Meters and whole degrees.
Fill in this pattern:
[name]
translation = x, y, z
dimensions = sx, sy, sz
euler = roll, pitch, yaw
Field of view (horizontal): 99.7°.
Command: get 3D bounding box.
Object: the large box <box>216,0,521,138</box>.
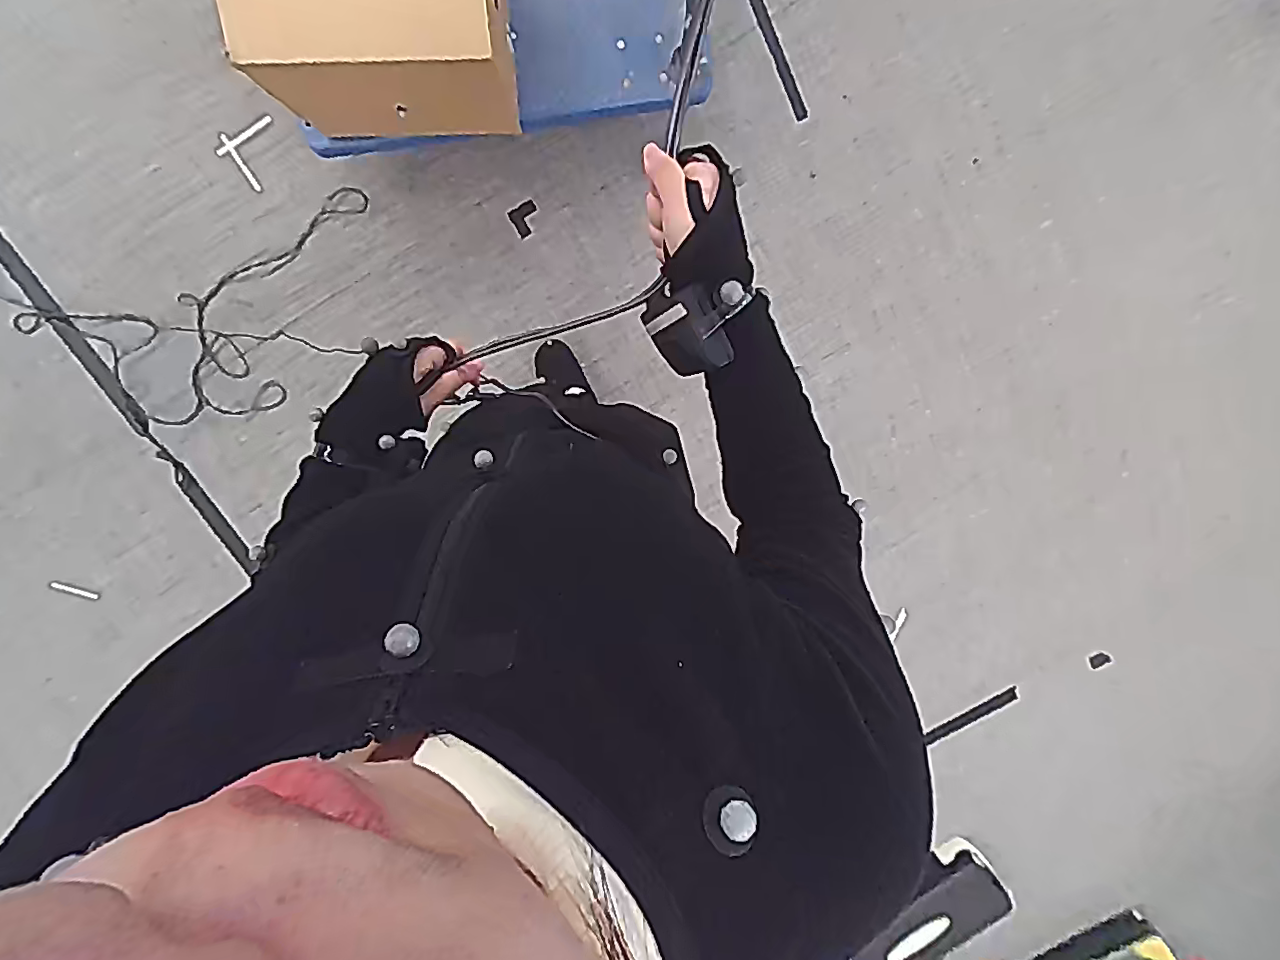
[large box]
translation = -0.447, -0.828, 0.945
dimensions = 0.408, 0.320, 0.320
euler = -4, 104, -3
